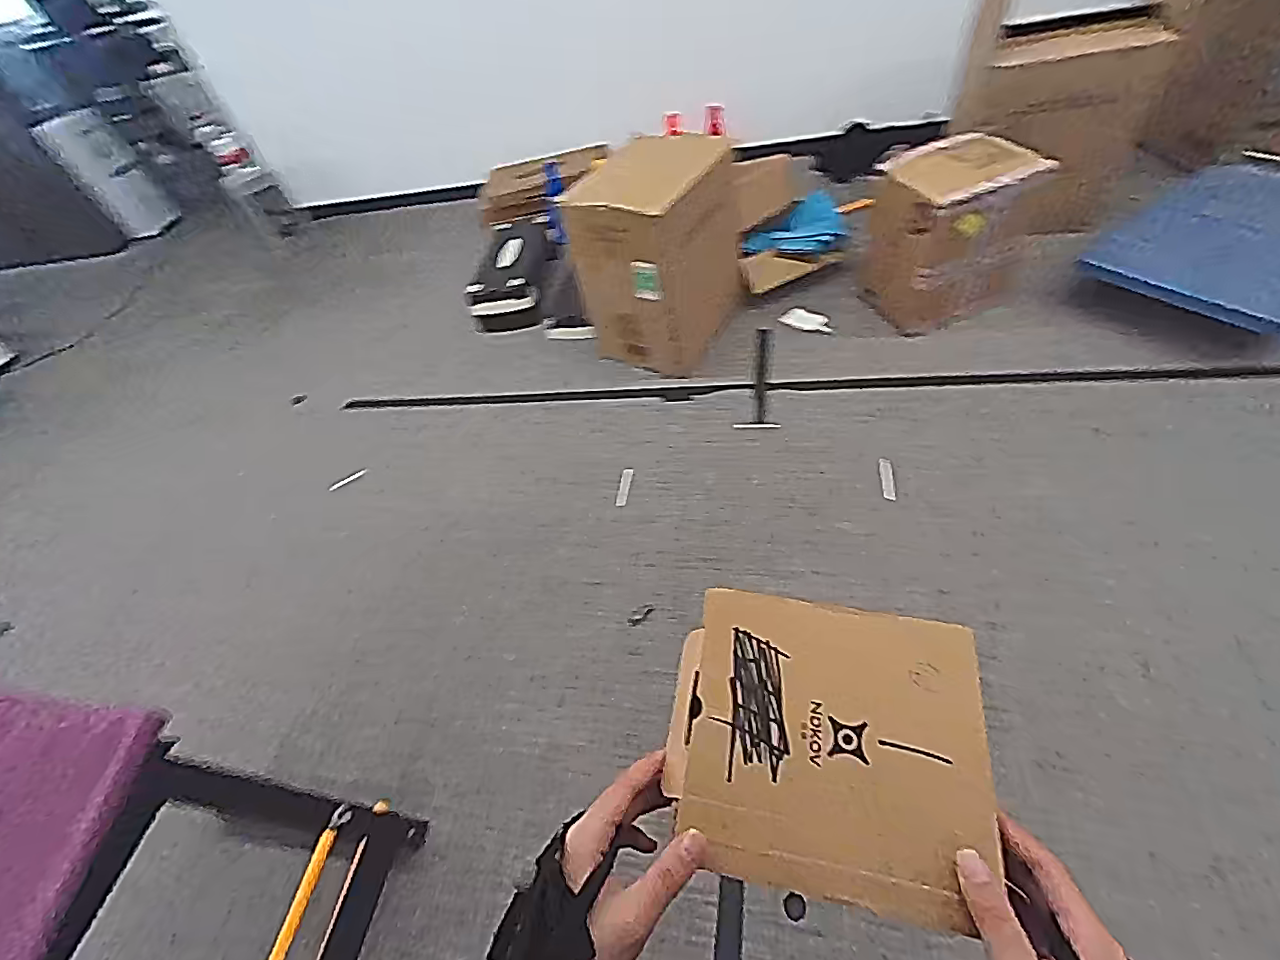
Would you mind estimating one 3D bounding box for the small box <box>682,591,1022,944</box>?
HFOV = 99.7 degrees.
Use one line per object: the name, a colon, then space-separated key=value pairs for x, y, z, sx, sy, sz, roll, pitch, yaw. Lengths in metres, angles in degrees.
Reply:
small box: x=0.132 y=0.201 z=0.394 sx=0.179 sy=0.176 sz=0.168 roll=8 pitch=57 yaw=11
